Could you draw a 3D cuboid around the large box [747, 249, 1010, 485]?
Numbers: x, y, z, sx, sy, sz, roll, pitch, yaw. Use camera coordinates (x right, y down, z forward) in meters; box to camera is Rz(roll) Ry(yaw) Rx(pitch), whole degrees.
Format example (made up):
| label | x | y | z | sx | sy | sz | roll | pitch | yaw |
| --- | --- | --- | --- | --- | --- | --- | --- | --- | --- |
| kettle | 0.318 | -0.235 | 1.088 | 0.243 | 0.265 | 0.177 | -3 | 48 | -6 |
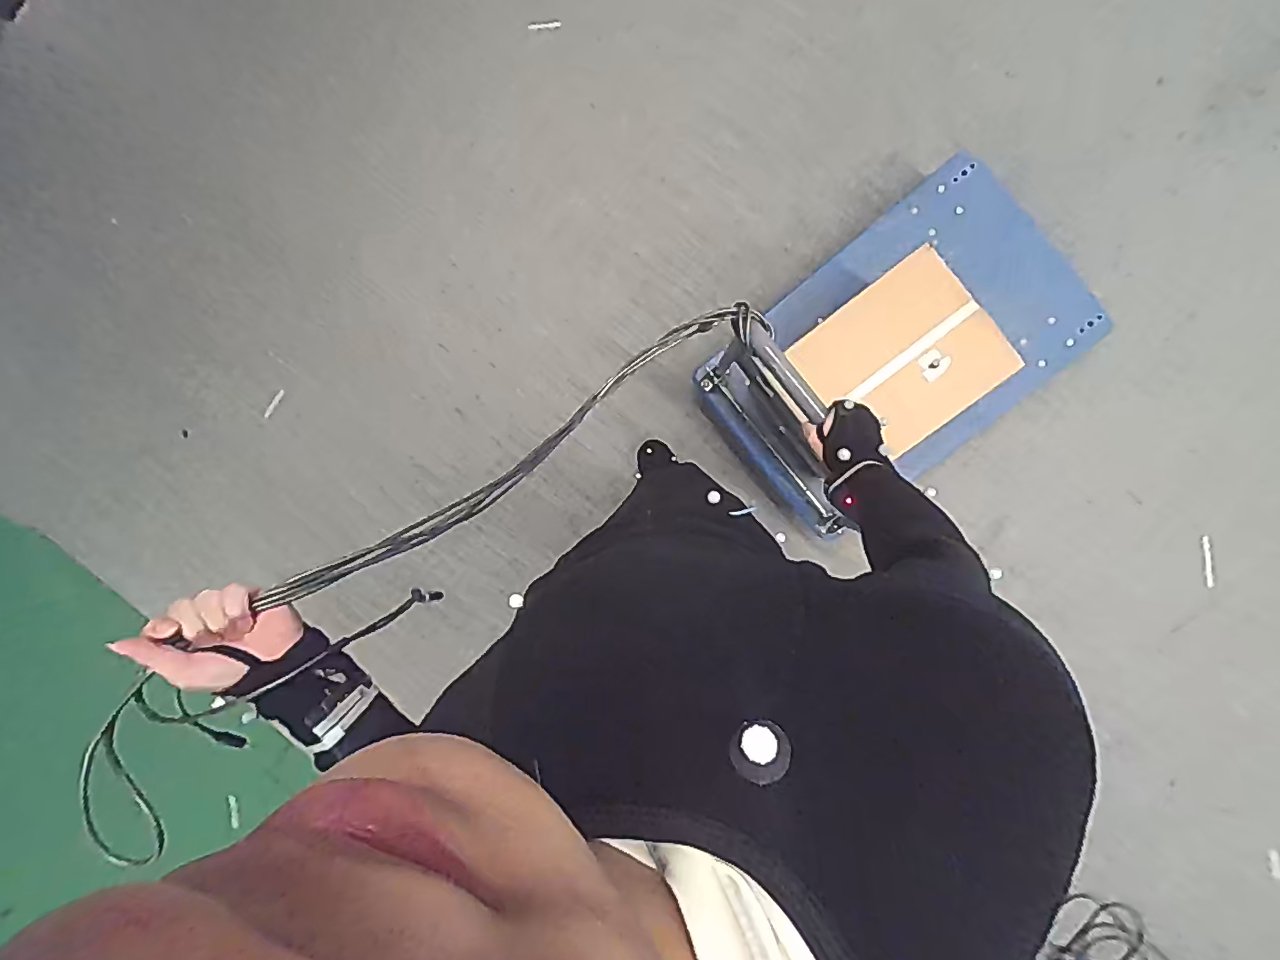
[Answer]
| label | x | y | z | sx | sy | sz | roll | pitch | yaw |
| --- | --- | --- | --- | --- | --- | --- | --- | --- | --- |
| large box | 0.508 | -0.230 | 1.248 | 0.408 | 0.320 | 0.320 | -37 | 89 | 5 |
